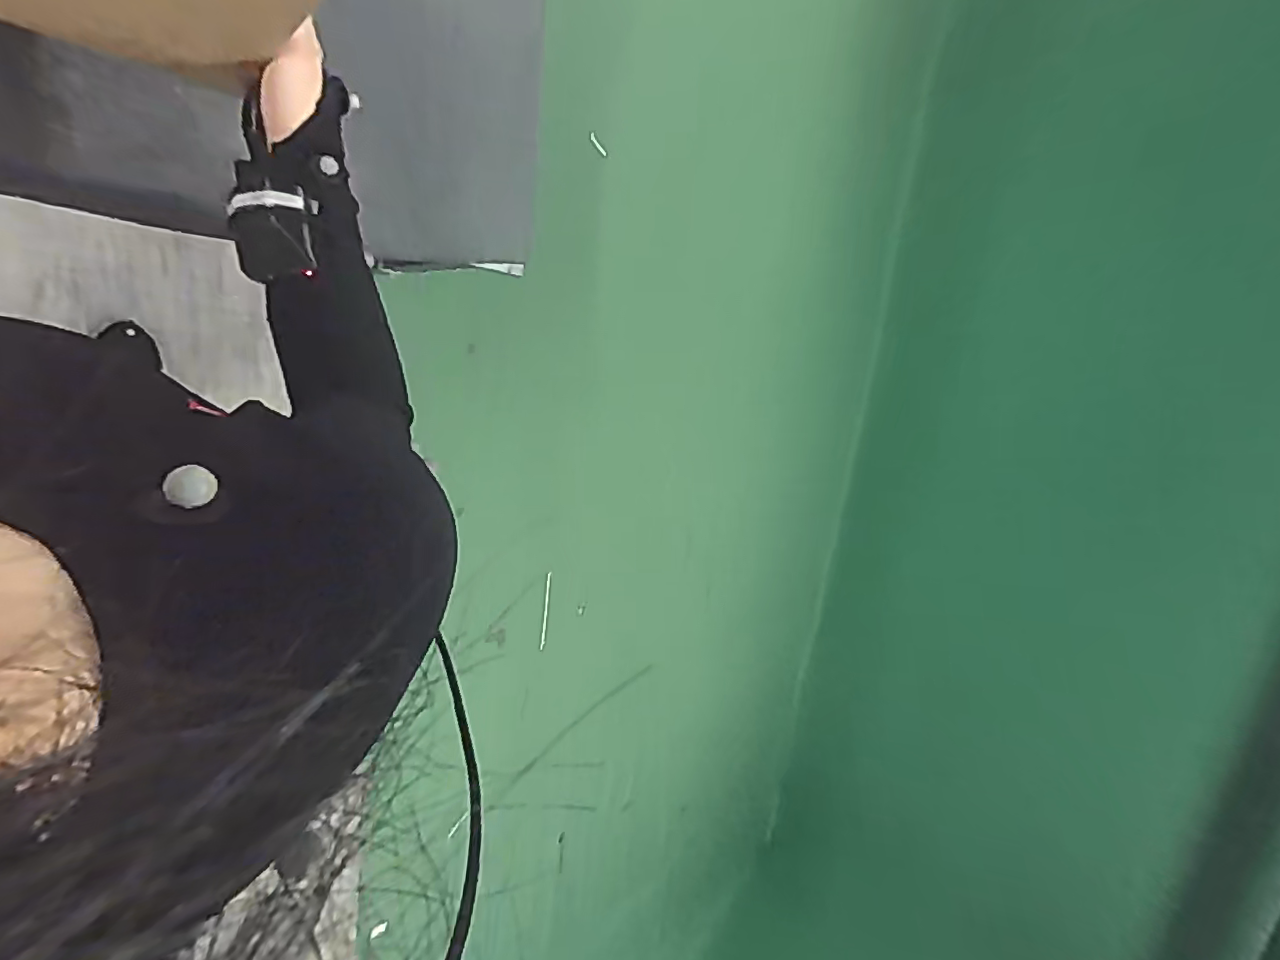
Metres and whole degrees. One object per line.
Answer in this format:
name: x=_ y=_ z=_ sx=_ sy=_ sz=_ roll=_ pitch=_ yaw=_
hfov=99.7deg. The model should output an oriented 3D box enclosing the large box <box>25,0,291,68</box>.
large box: x=-0.358 y=-0.433 z=0.182 sx=0.408 sy=0.320 sz=0.320 roll=-8 pitch=110 yaw=-46
